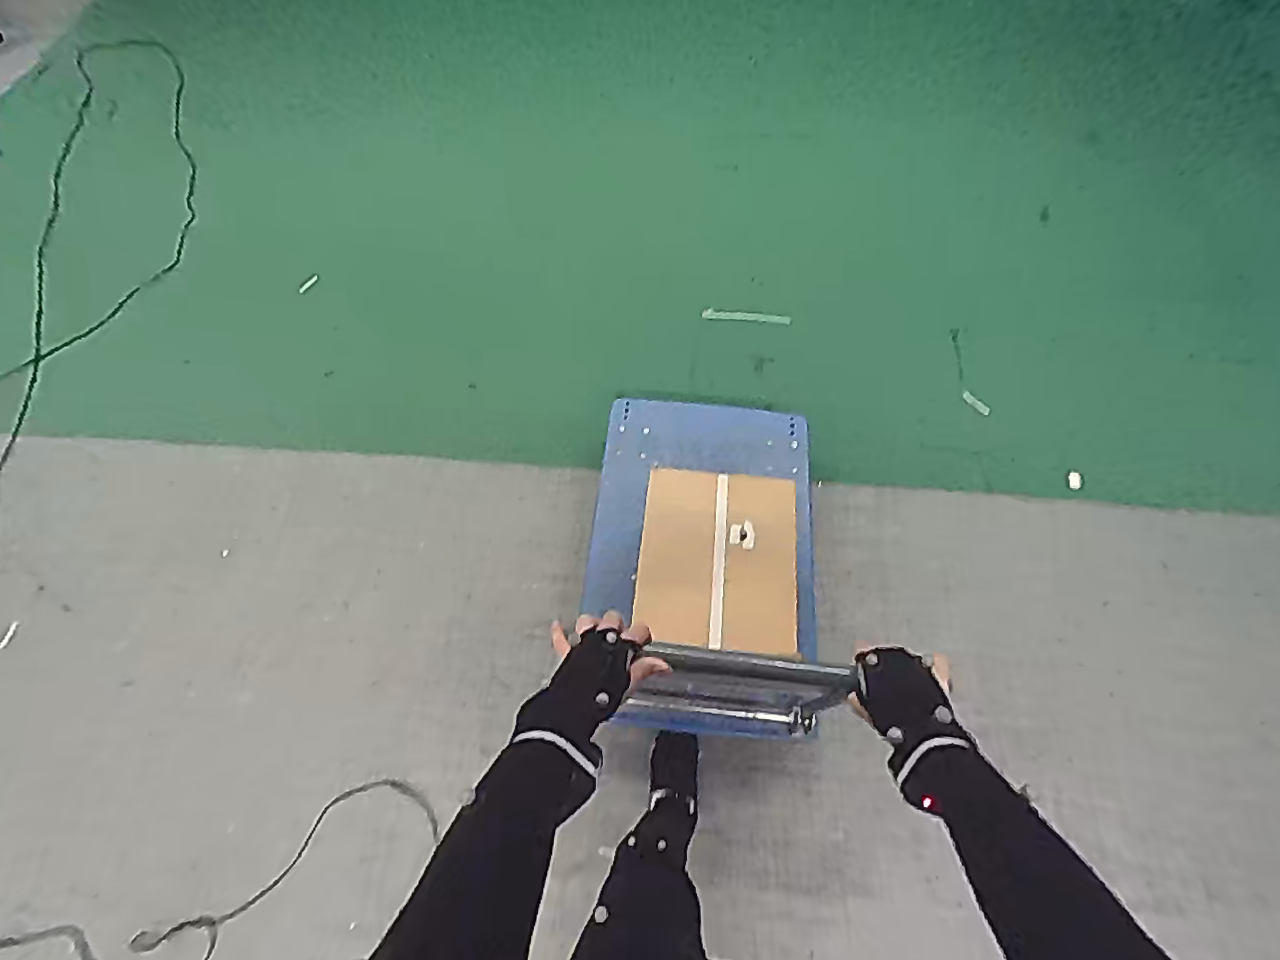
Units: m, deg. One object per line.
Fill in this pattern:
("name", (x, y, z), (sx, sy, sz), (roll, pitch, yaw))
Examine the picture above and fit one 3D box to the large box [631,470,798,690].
("large box", (0.154, 0.234, 1.209), (0.320, 0.320, 0.408), (5, 64, 2))
